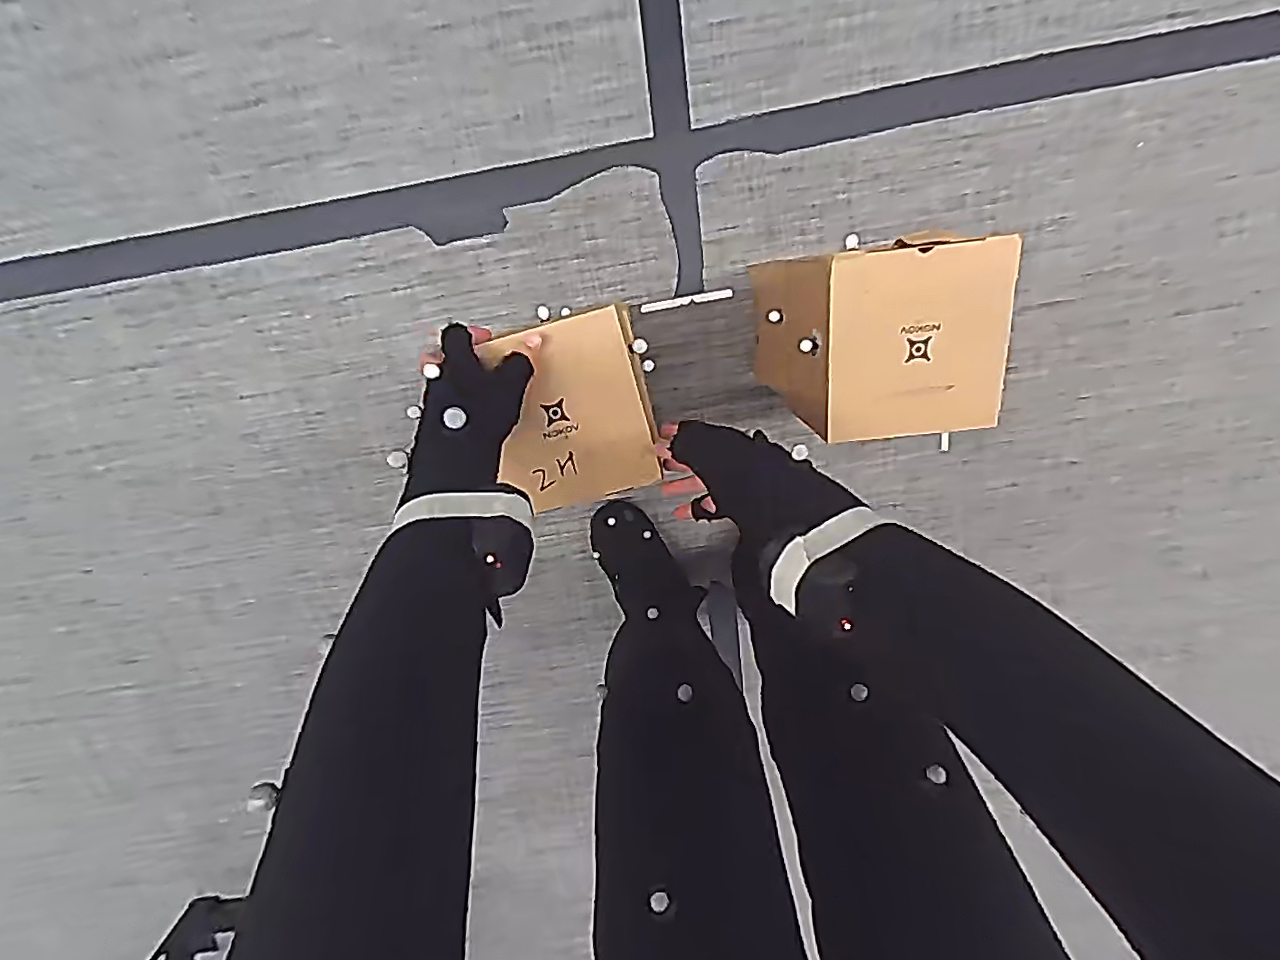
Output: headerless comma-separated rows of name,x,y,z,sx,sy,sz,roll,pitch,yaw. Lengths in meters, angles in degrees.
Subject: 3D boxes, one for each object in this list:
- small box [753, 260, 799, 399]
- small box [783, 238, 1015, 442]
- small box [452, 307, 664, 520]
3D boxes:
small box,0.259,-0.212,0.729,0.179,0.176,0.168,-6,109,-1
small box,0.254,-0.152,0.578,0.168,0.176,0.179,-5,111,2
small box,-0.077,-0.082,0.592,0.168,0.176,0.179,-14,110,5
